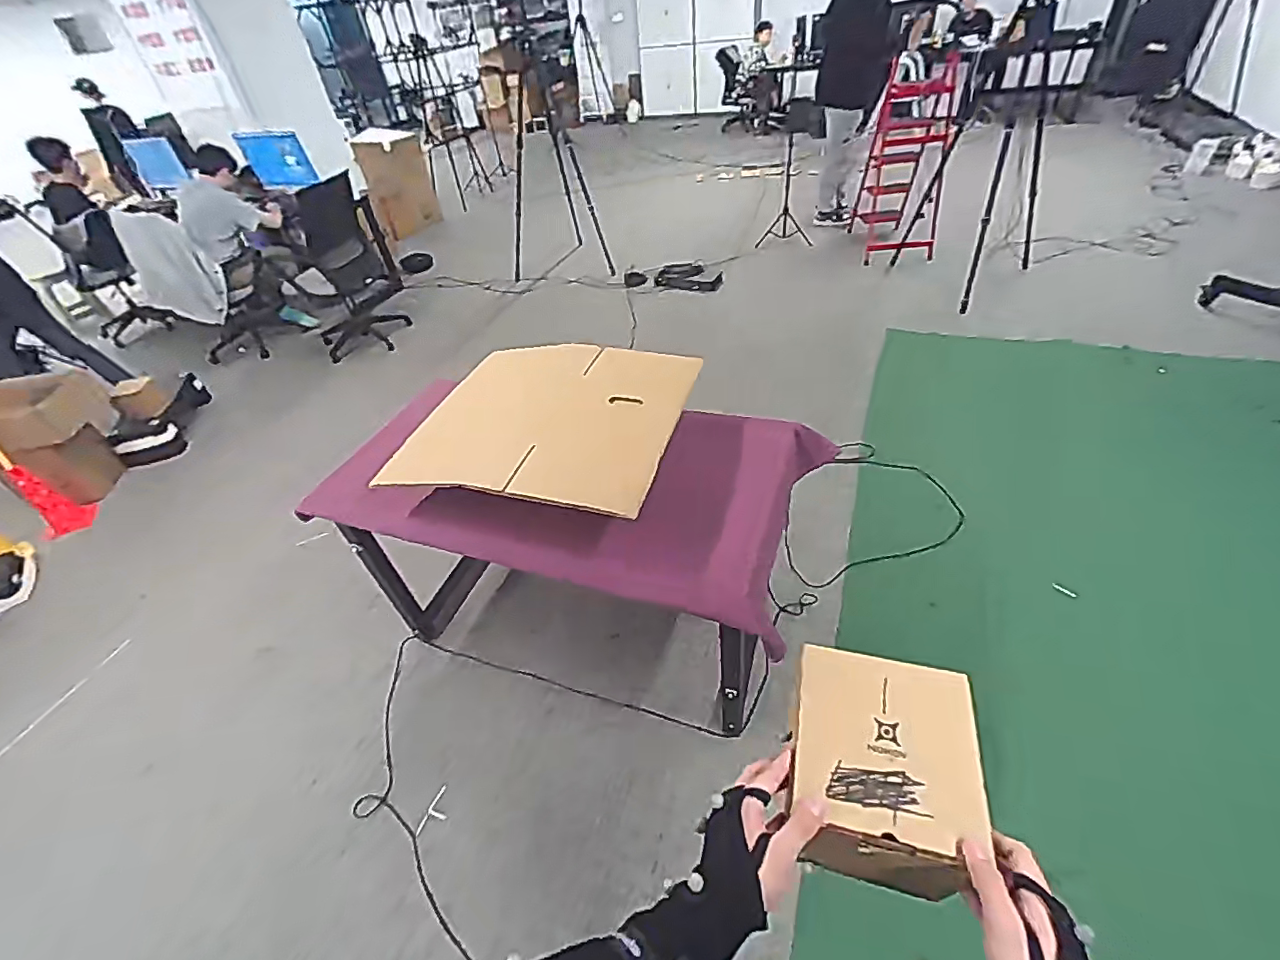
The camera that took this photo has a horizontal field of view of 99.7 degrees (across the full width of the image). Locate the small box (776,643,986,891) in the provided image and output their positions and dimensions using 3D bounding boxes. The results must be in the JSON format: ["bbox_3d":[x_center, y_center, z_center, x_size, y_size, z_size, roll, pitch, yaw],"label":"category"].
[{"bbox_3d":[0.239,0.305,0.576,0.168,0.176,0.179,6,46,14],"label":"small box"}]
